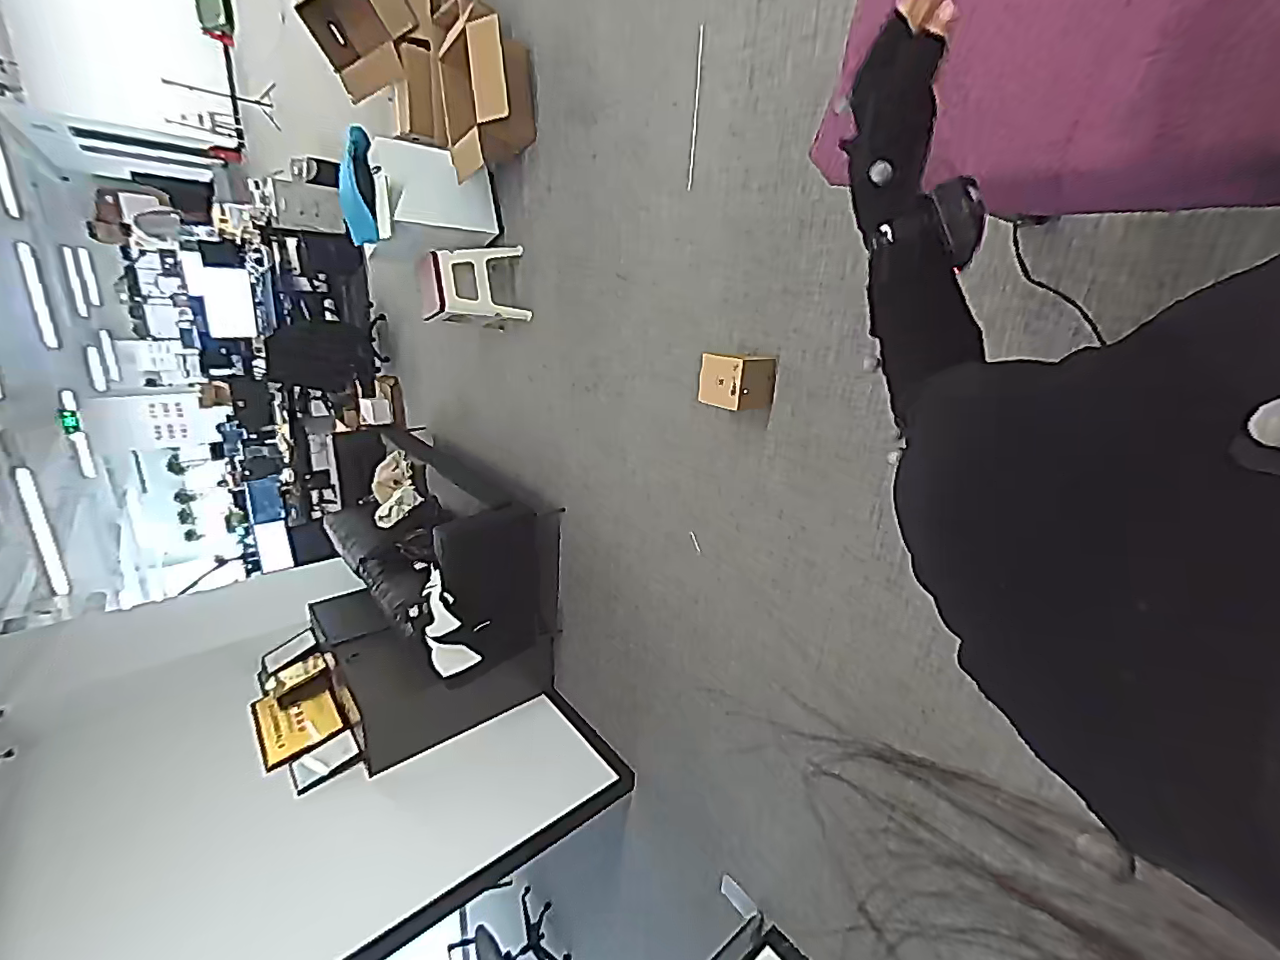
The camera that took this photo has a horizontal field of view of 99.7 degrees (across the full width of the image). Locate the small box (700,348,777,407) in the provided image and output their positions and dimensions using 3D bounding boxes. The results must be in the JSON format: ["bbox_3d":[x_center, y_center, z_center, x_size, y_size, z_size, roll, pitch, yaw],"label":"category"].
[{"bbox_3d":[0.328,-0.345,1.810,0.179,0.176,0.168,26,118,46],"label":"small box"}]
